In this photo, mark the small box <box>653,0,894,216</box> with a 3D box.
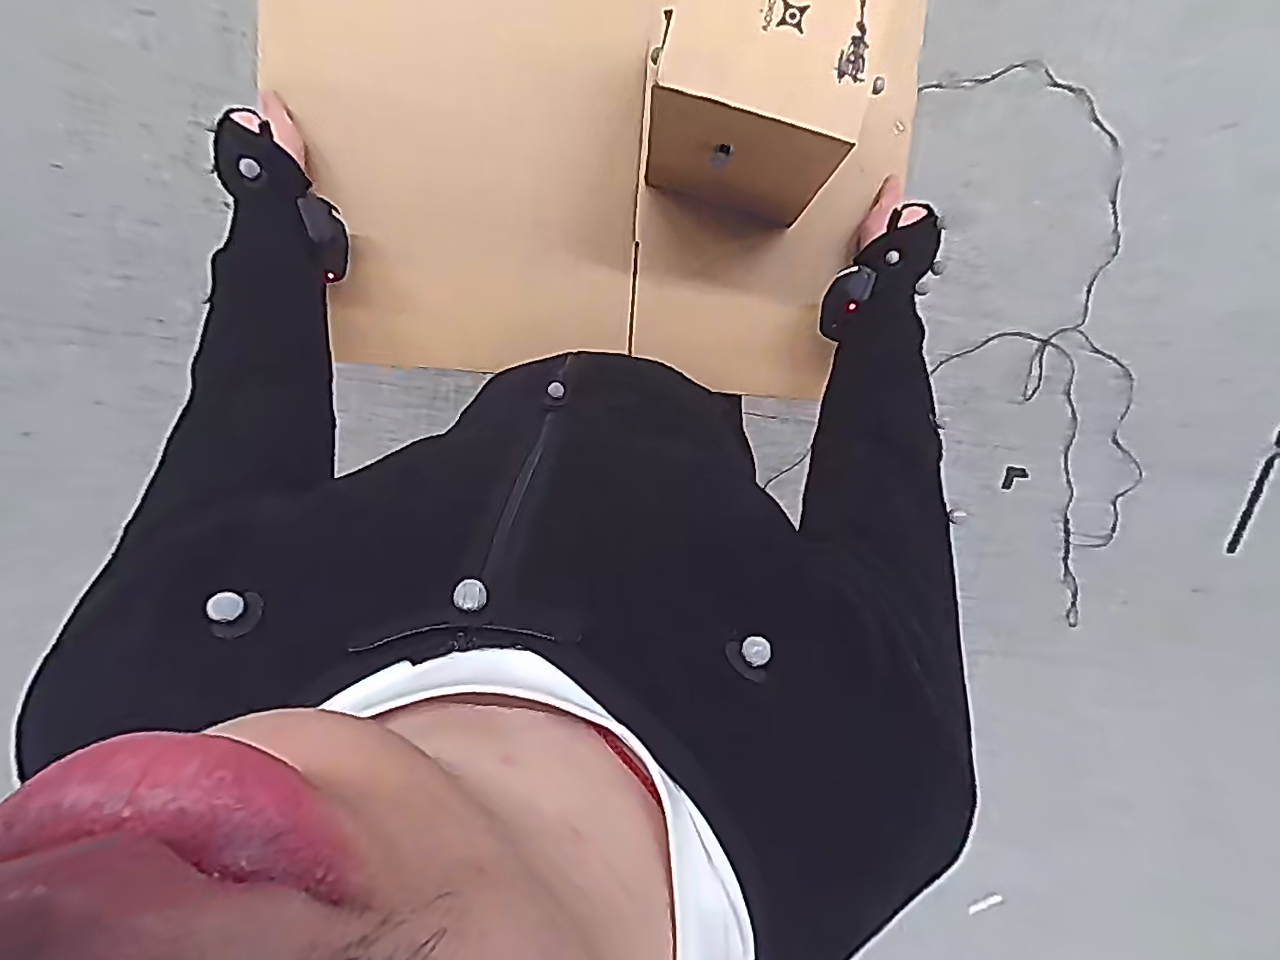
[{"bbox_3d":[0.115,-0.384,0.522,0.179,0.176,0.168,15,94,-2],"label":"small box"}]
